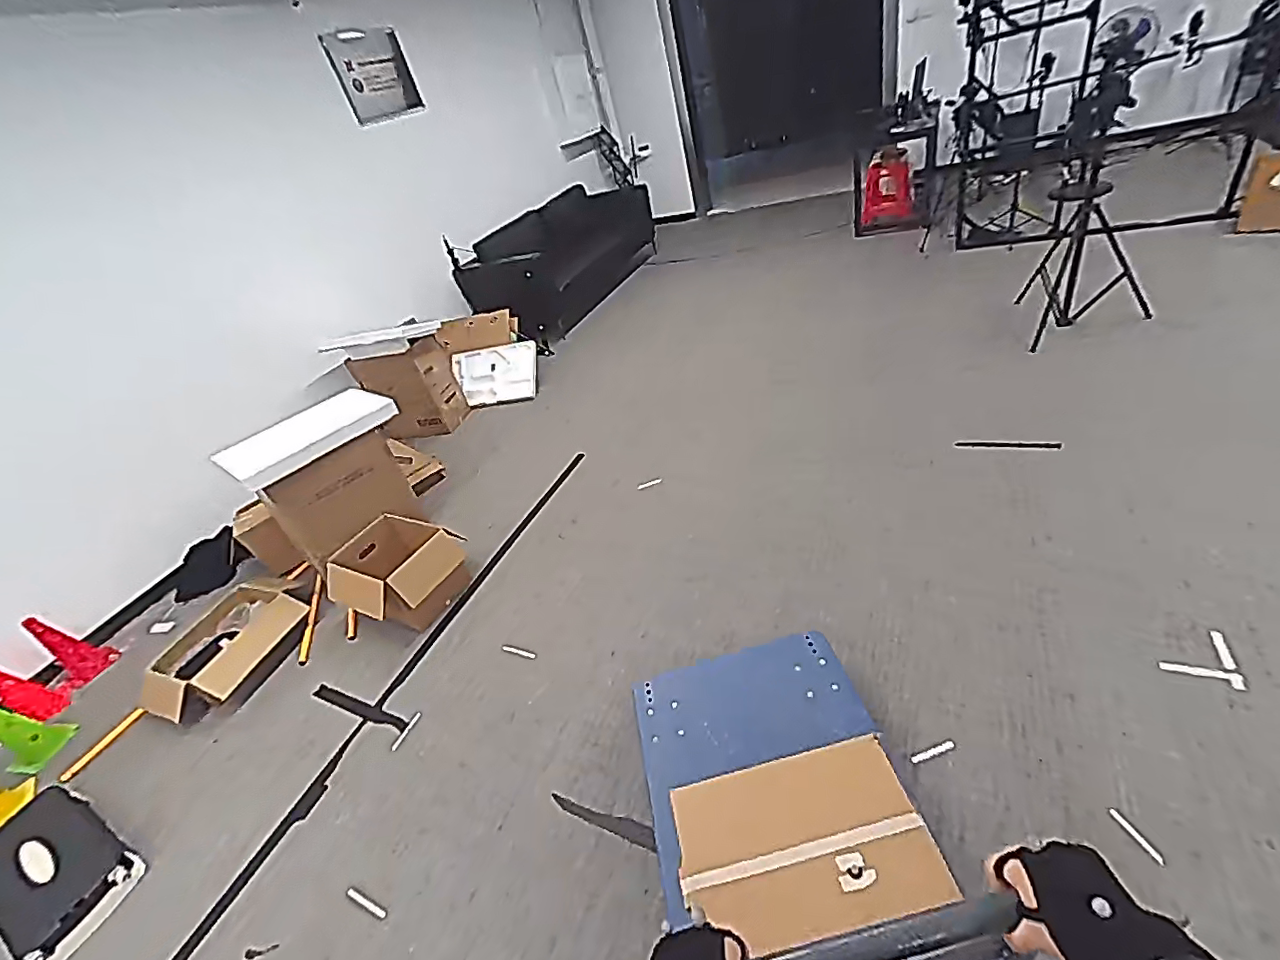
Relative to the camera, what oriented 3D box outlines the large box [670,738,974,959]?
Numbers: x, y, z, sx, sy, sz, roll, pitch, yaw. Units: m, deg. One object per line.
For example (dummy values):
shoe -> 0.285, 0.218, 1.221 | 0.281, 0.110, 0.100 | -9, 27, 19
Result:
large box -> 0.301, 0.742, 0.980 | 0.408, 0.320, 0.320 | -16, 36, 0
